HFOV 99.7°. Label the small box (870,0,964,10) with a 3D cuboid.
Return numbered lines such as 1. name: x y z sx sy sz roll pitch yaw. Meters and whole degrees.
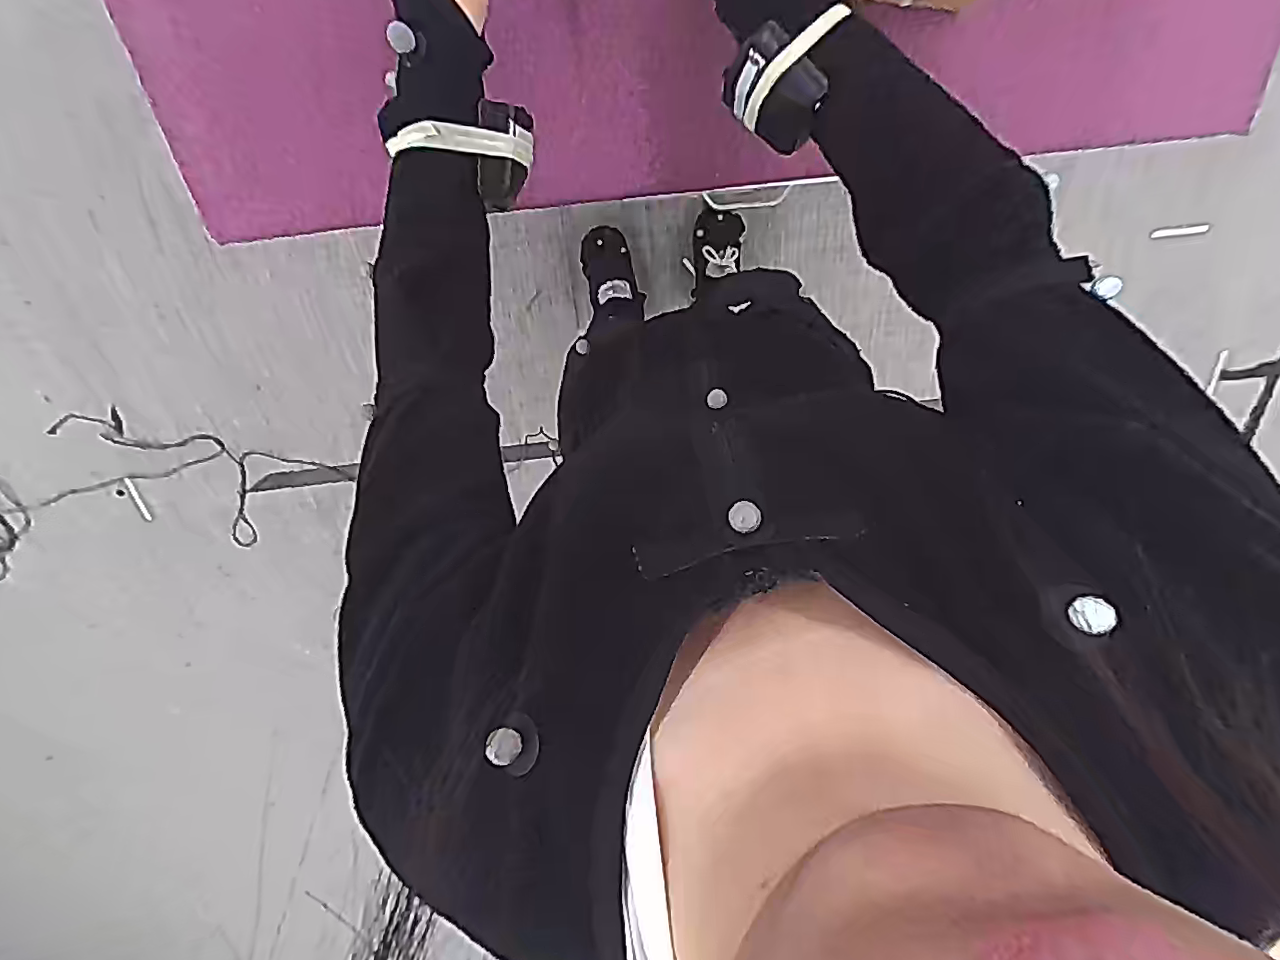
1. small box: 0.264 -0.539 0.450 0.168 0.176 0.179 1 116 -6
